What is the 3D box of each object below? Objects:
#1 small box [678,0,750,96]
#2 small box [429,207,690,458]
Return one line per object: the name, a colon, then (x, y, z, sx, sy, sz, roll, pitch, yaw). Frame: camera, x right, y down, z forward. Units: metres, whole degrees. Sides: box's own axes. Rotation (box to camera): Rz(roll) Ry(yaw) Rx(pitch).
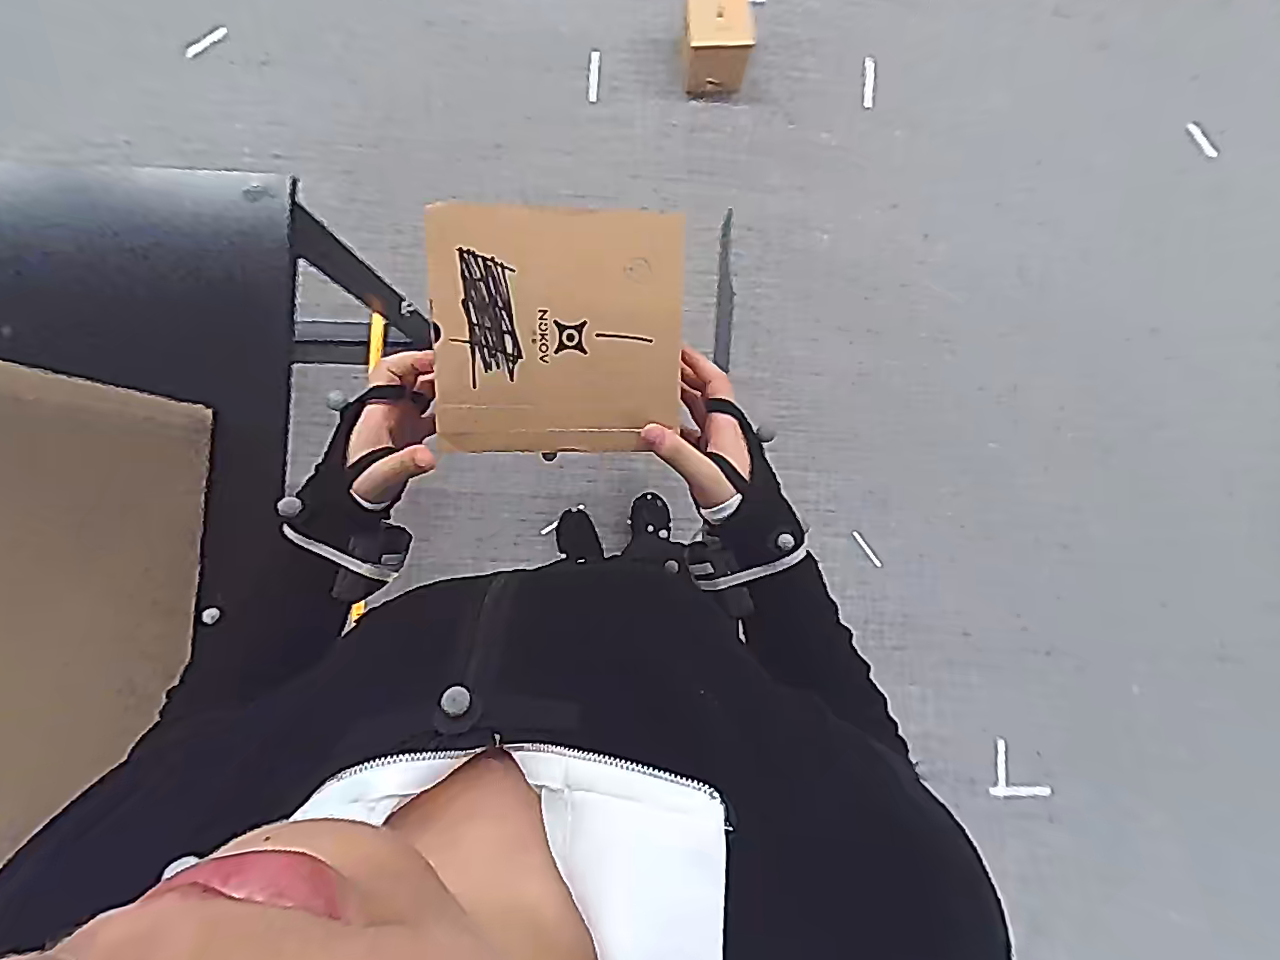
small box: (0.198, -1.197, 1.480, 0.168, 0.176, 0.179, -4, 89, -2)
small box: (-0.059, -0.113, 0.452, 0.179, 0.176, 0.168, 1, 102, -3)
